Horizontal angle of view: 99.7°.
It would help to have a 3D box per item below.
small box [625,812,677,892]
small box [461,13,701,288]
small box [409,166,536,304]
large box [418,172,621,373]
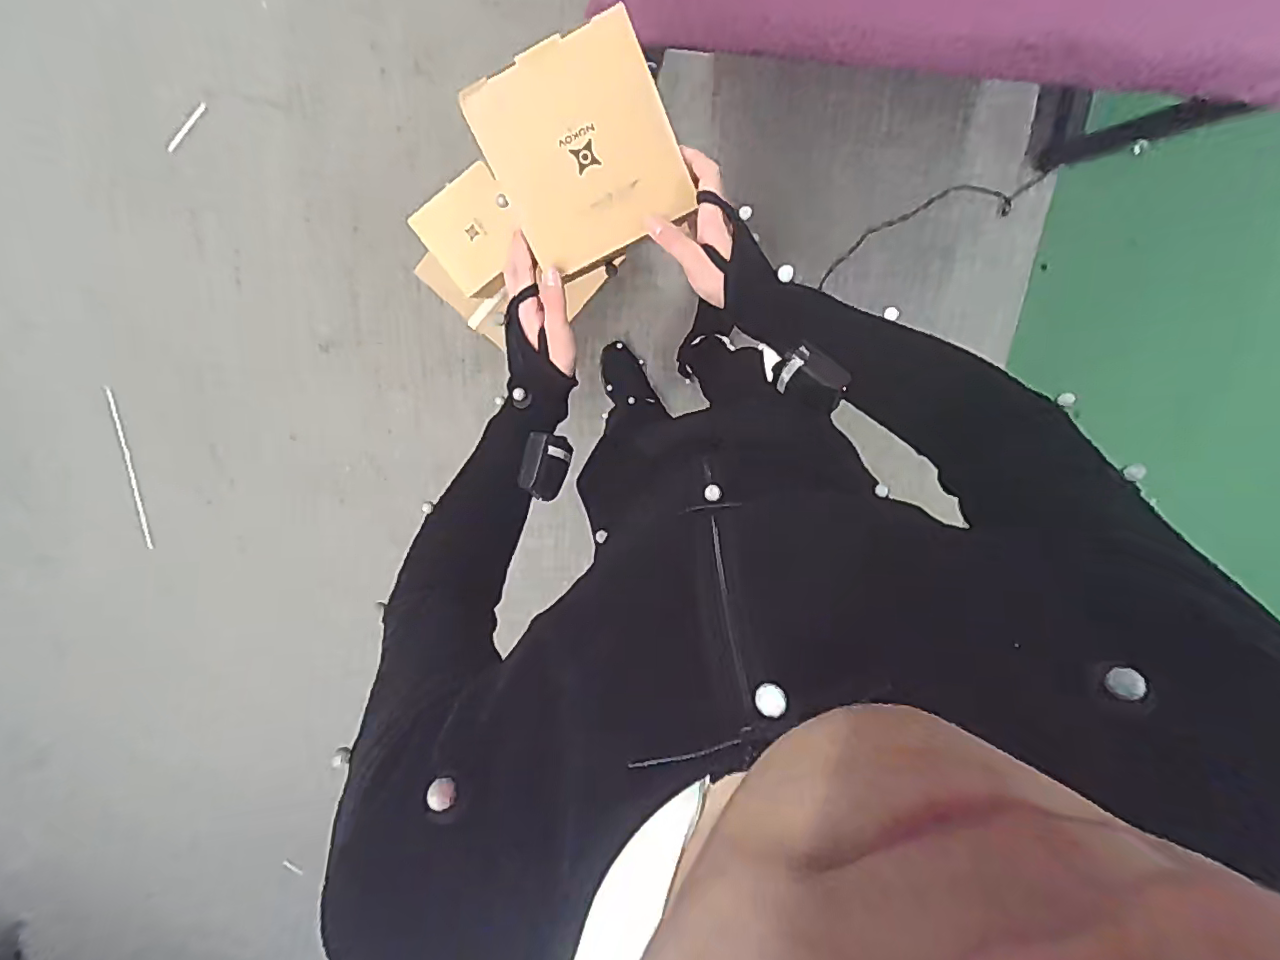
[{"bbox_3d":[0.034,1.305,1.905,0.179,0.176,0.168,-2,107,-4],"label":"small box"},{"bbox_3d":[-0.054,-0.314,0.562,0.168,0.176,0.179,-24,109,5],"label":"small box"},{"bbox_3d":[-0.301,-0.458,1.045,0.179,0.176,0.168,-36,105,7],"label":"small box"},{"bbox_3d":[-0.244,-0.518,1.287,0.320,0.320,0.408,40,100,-16],"label":"large box"}]
